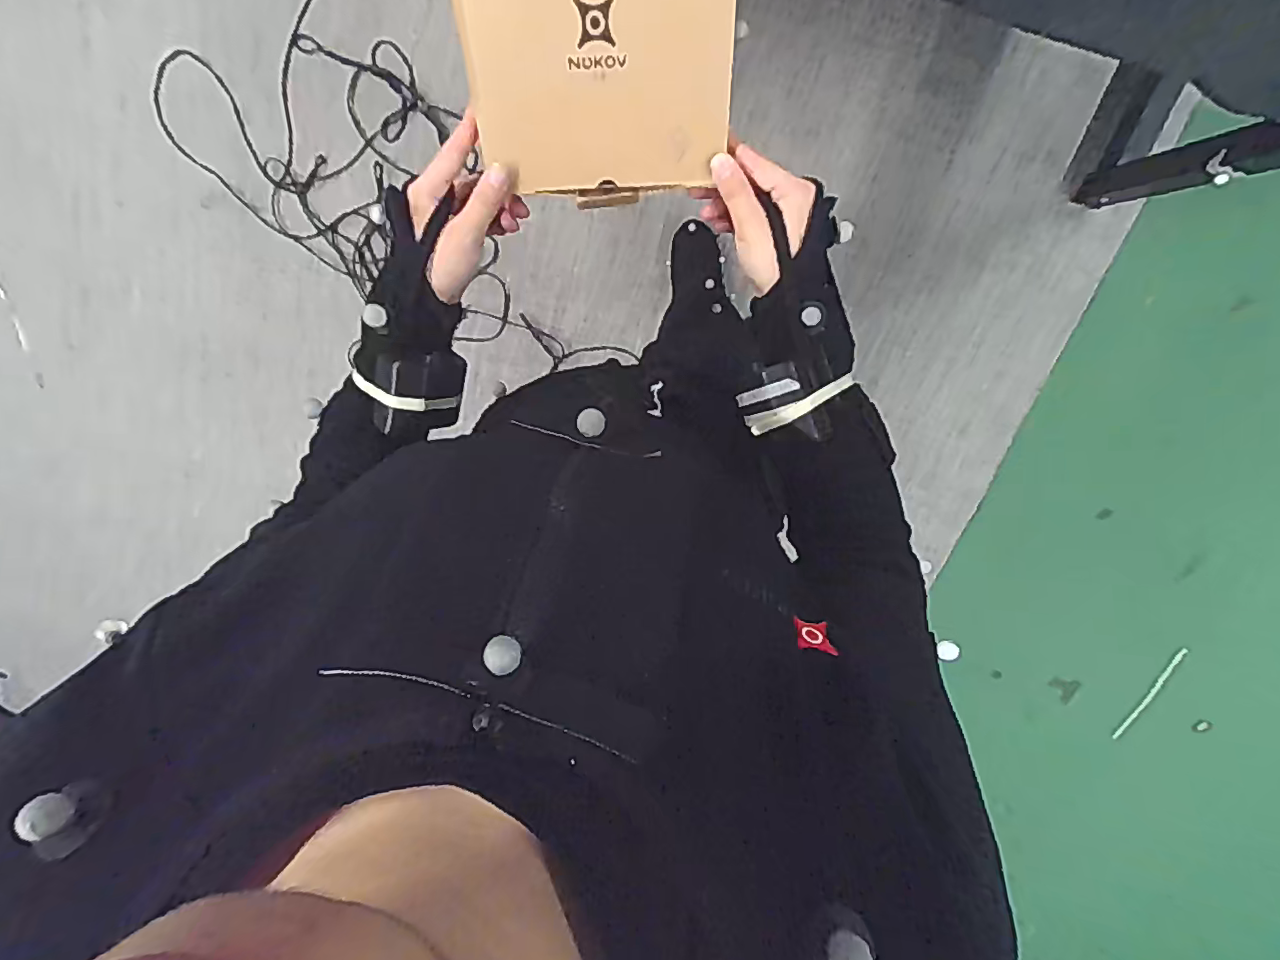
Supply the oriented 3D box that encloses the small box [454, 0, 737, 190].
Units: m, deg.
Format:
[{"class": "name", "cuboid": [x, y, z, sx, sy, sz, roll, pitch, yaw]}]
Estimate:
[{"class": "small box", "cuboid": [-0.024, -0.321, 0.374, 0.168, 0.176, 0.179, -2, 131, 1]}]
